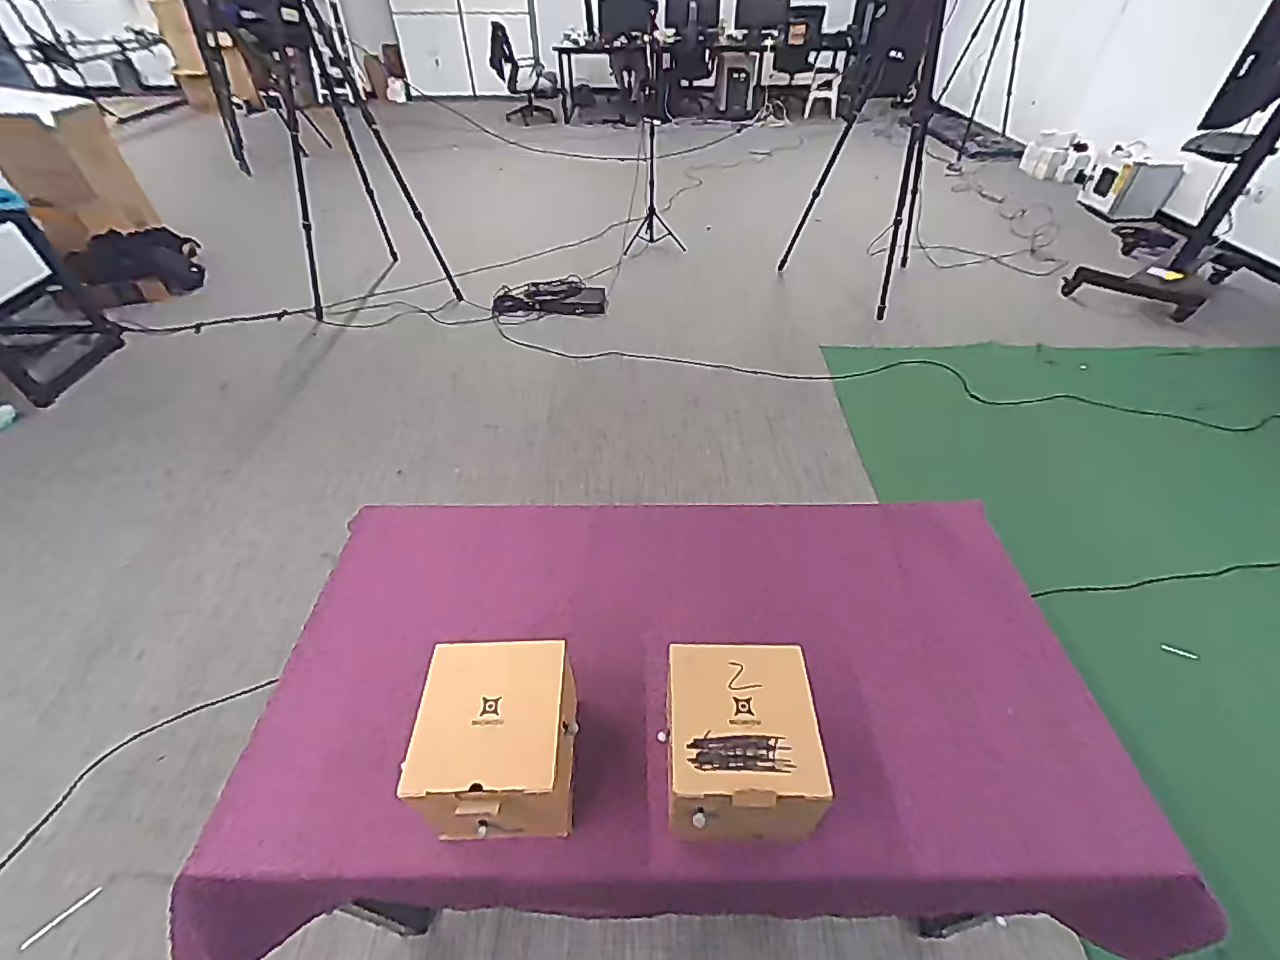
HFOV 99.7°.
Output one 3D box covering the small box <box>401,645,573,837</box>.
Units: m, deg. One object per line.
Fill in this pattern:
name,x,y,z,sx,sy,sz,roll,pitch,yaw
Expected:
small box,-0.177,0.333,0.692,0.168,0.176,0.179,-2,45,-1
